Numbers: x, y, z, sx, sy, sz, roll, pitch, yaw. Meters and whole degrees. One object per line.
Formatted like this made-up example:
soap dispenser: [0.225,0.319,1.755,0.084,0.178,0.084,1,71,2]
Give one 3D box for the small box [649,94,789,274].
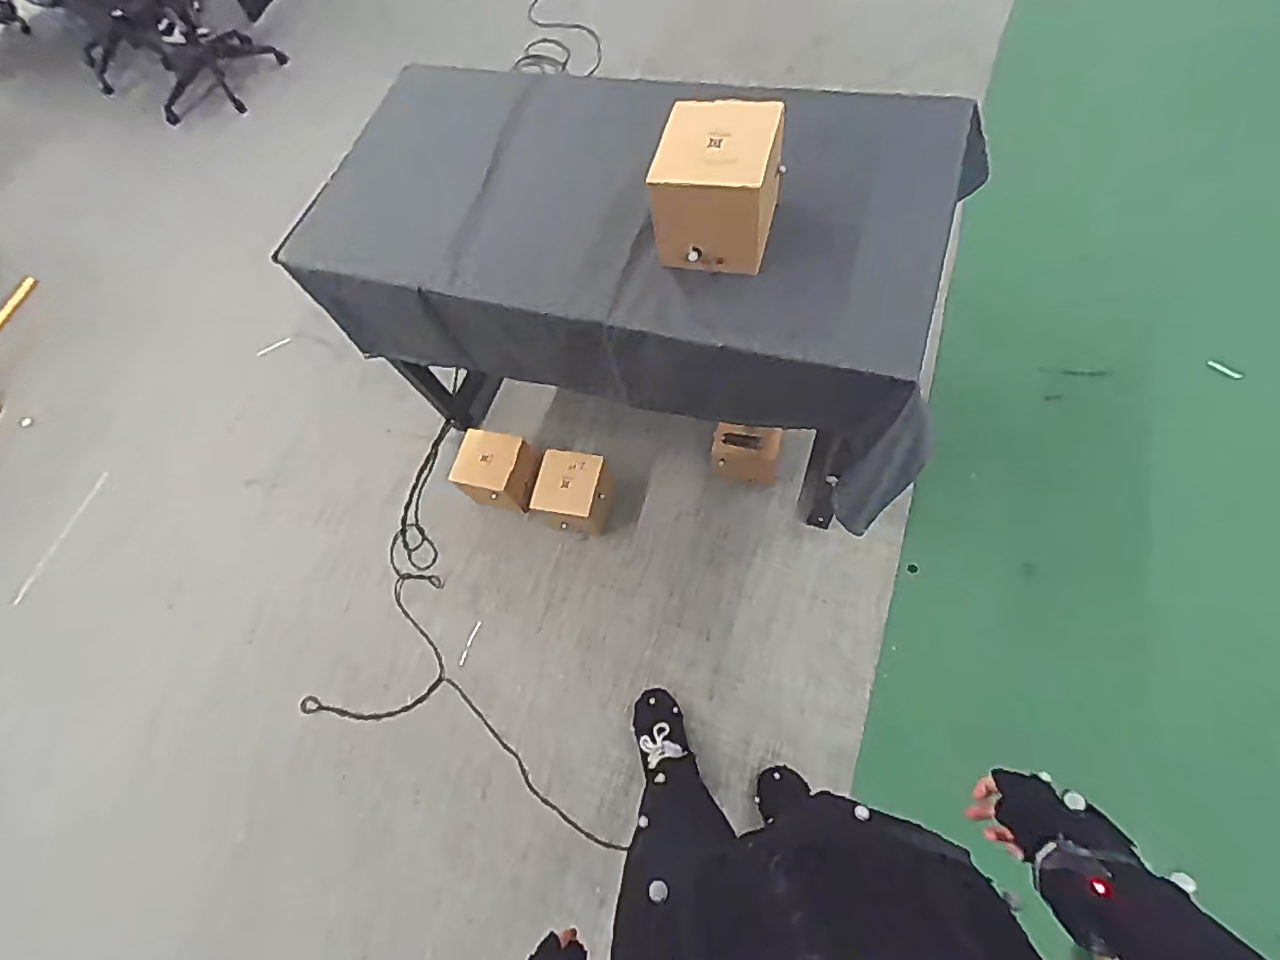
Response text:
small box: [0.124,-0.452,0.835,0.168,0.176,0.179,12,70,15]
